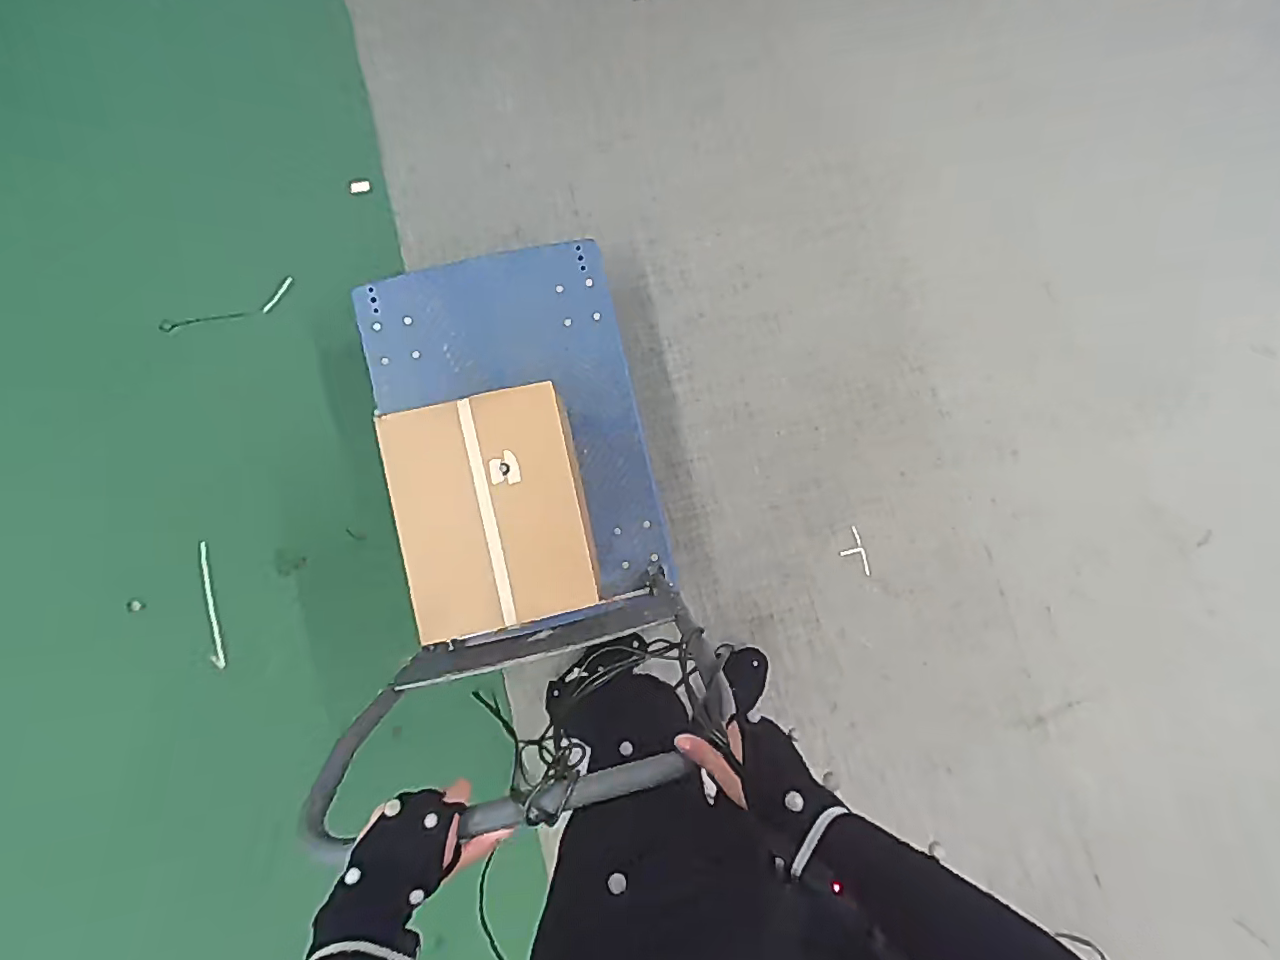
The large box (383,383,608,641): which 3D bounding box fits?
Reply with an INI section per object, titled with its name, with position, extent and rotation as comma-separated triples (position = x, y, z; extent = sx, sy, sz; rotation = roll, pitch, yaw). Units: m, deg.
[large box]
position = -0.260, 0.060, 1.091
extent = 0.320, 0.320, 0.408
rotation = -13, 88, -4
